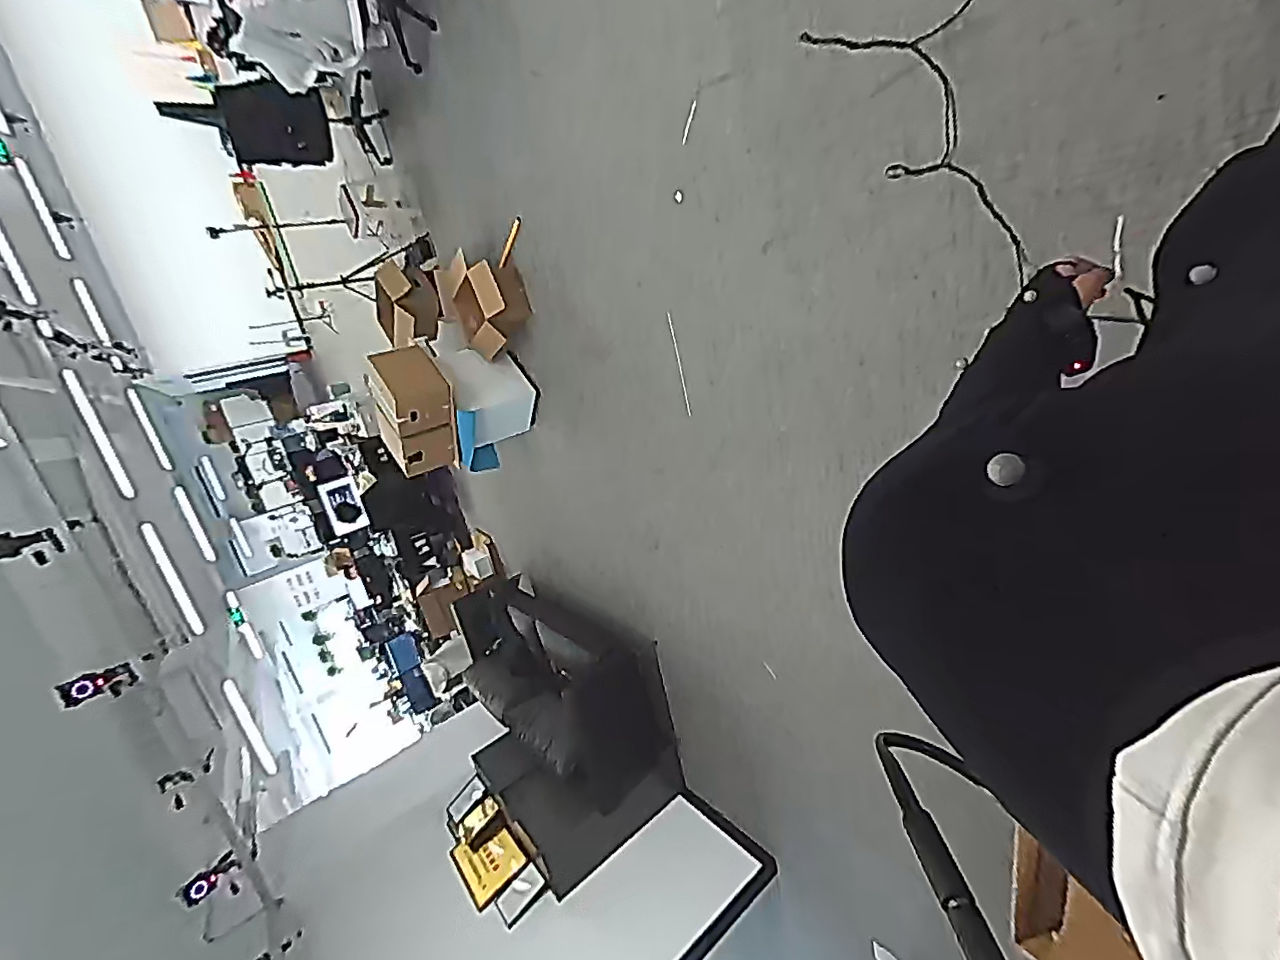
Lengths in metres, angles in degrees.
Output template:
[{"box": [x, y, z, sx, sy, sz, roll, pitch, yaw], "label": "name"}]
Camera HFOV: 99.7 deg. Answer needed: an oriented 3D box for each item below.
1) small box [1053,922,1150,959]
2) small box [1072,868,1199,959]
[{"box": [0.974, 1.076, 1.118, 0.179, 0.176, 0.168, 10, 118, 51], "label": "small box"}, {"box": [1.100, 1.022, 1.209, 0.179, 0.176, 0.168, 12, 121, 51], "label": "small box"}]
